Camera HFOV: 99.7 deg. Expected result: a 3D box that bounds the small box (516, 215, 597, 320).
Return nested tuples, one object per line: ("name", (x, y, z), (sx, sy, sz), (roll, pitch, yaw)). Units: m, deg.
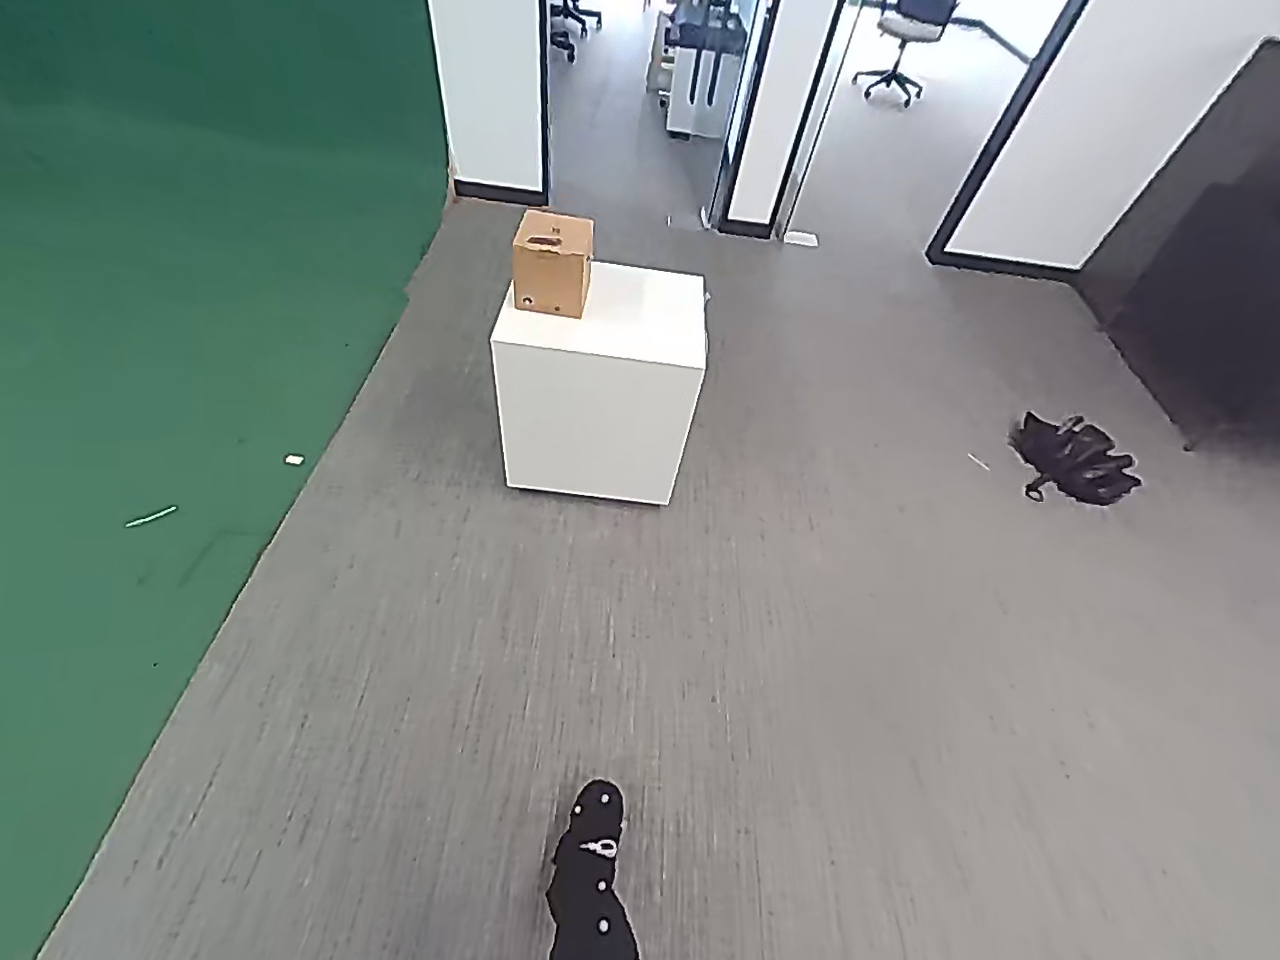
("small box", (-0.200, -0.518, 1.328), (0.168, 0.176, 0.179), (8, 51, -3))
